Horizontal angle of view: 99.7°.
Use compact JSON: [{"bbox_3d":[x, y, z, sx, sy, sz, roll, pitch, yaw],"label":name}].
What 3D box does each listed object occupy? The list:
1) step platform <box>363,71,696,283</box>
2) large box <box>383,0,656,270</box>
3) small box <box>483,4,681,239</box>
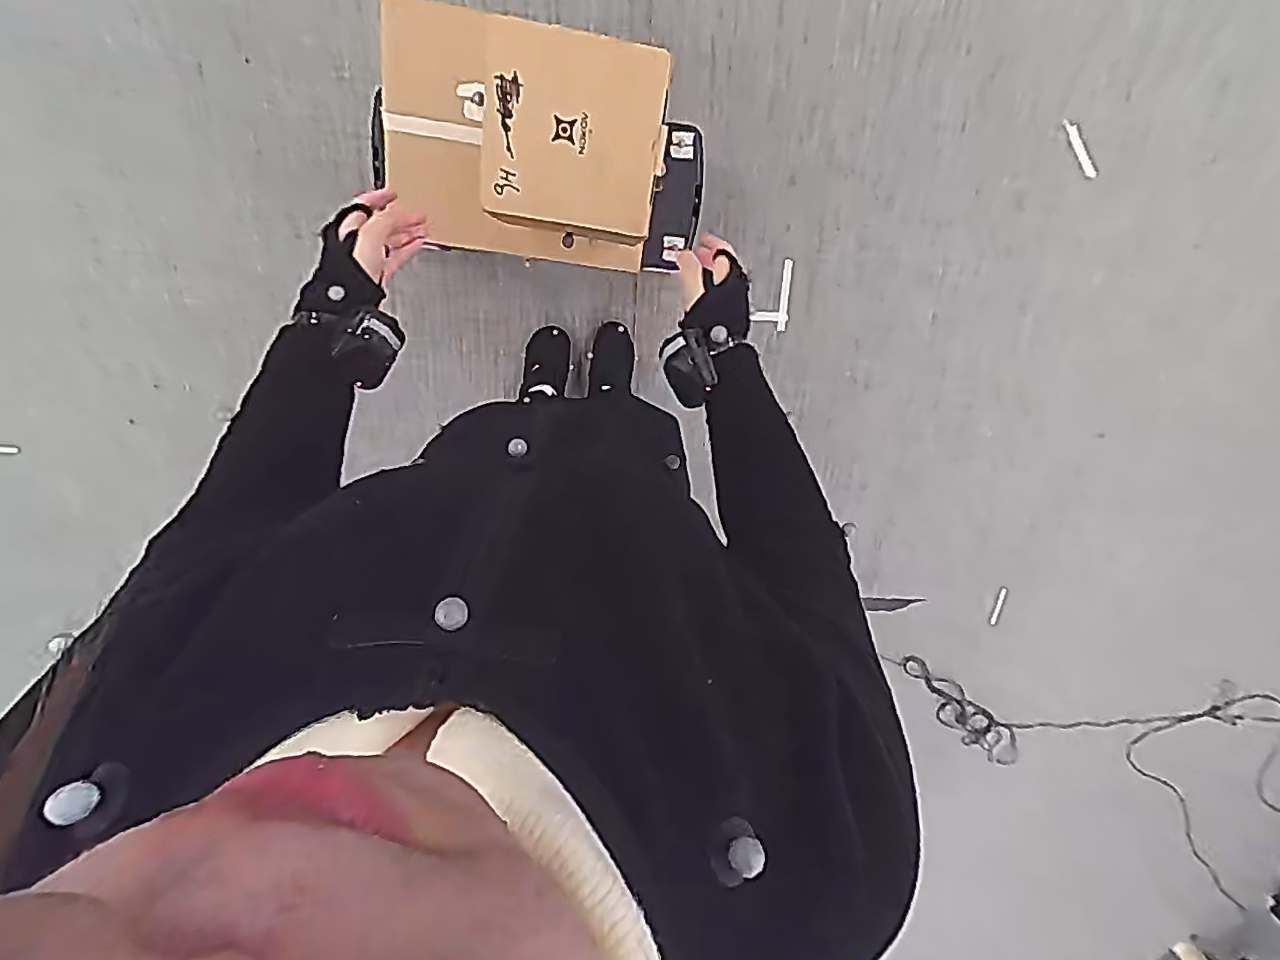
[{"bbox_3d":[-0.222,-0.633,1.175,0.684,0.204,0.286,8,110,-7],"label":"step platform"},{"bbox_3d":[-0.182,-0.557,0.951,0.408,0.320,0.320,6,109,-6],"label":"large box"},{"bbox_3d":[-0.067,-0.368,0.595,0.179,0.176,0.168,6,110,-8],"label":"small box"}]
